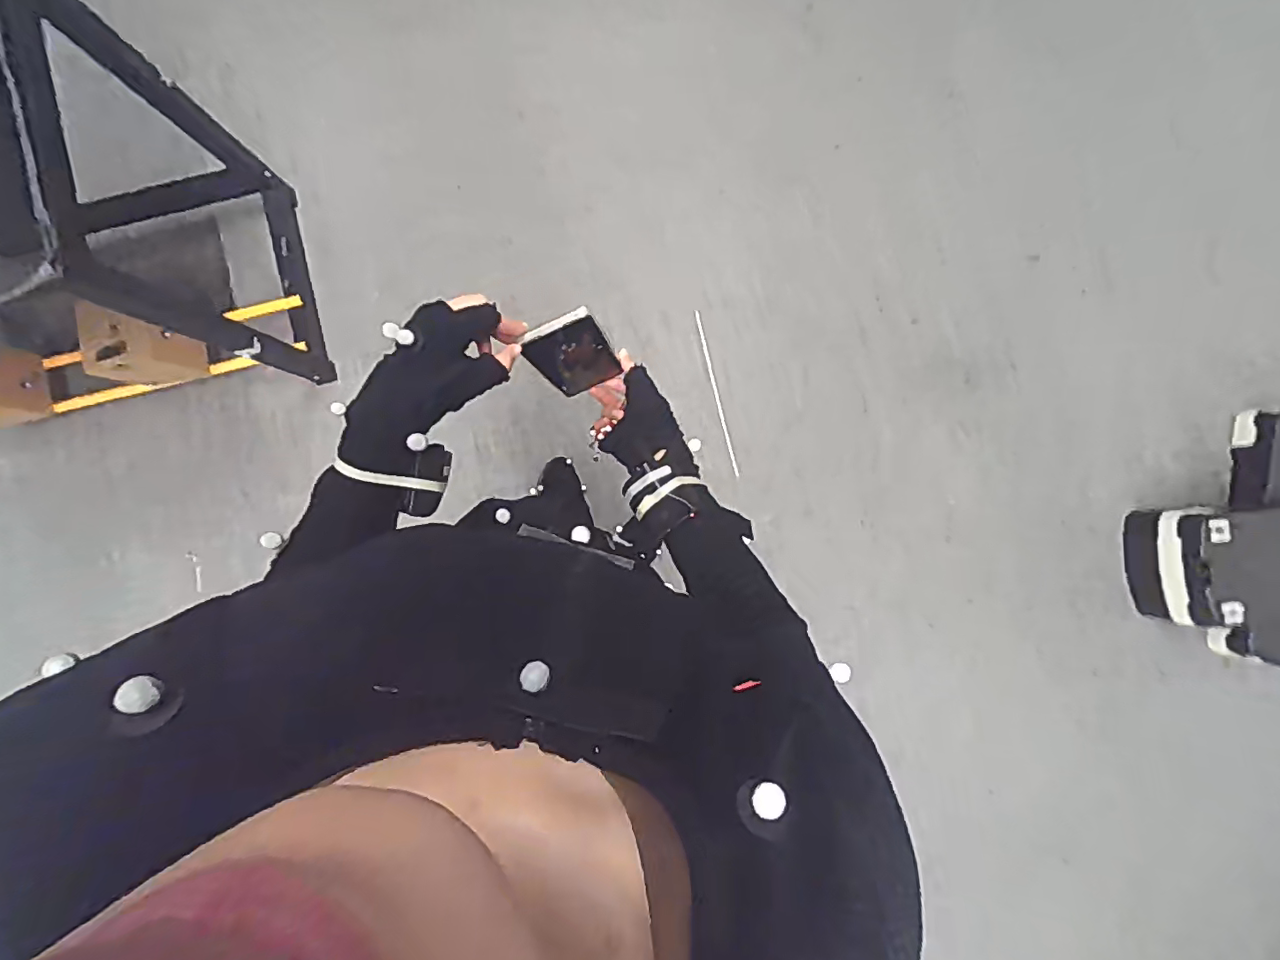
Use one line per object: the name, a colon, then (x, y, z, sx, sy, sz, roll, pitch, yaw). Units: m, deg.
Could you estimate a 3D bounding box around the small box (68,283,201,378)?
small box: (-1.221, -0.355, 1.321, 0.168, 0.176, 0.179, -10, 88, 0)
